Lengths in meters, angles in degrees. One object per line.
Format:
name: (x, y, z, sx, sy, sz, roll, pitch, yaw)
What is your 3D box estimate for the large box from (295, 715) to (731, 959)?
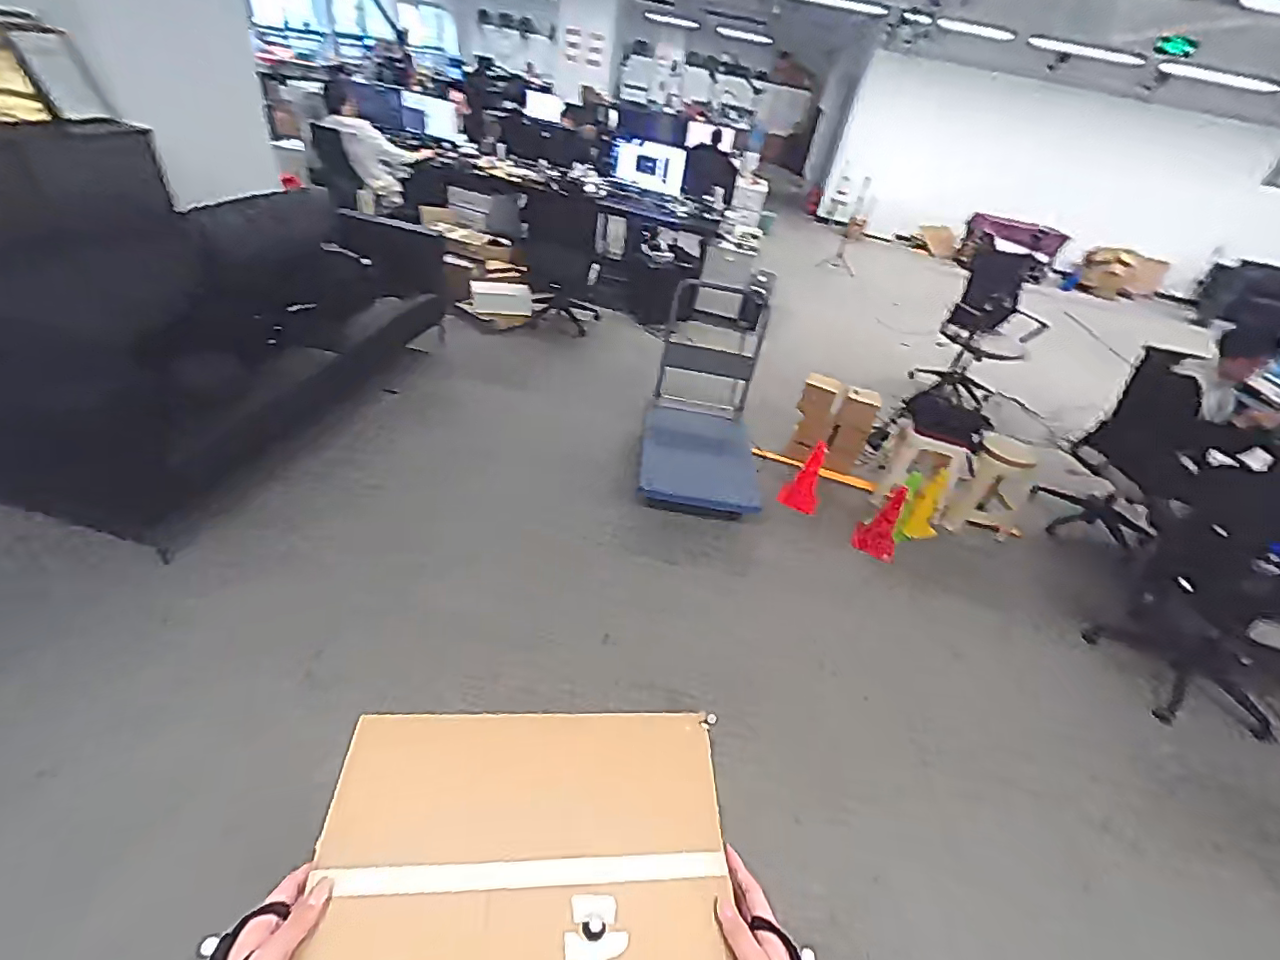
large box: (-0.135, 0.503, 0.644, 0.408, 0.320, 0.320, 2, 45, -8)
